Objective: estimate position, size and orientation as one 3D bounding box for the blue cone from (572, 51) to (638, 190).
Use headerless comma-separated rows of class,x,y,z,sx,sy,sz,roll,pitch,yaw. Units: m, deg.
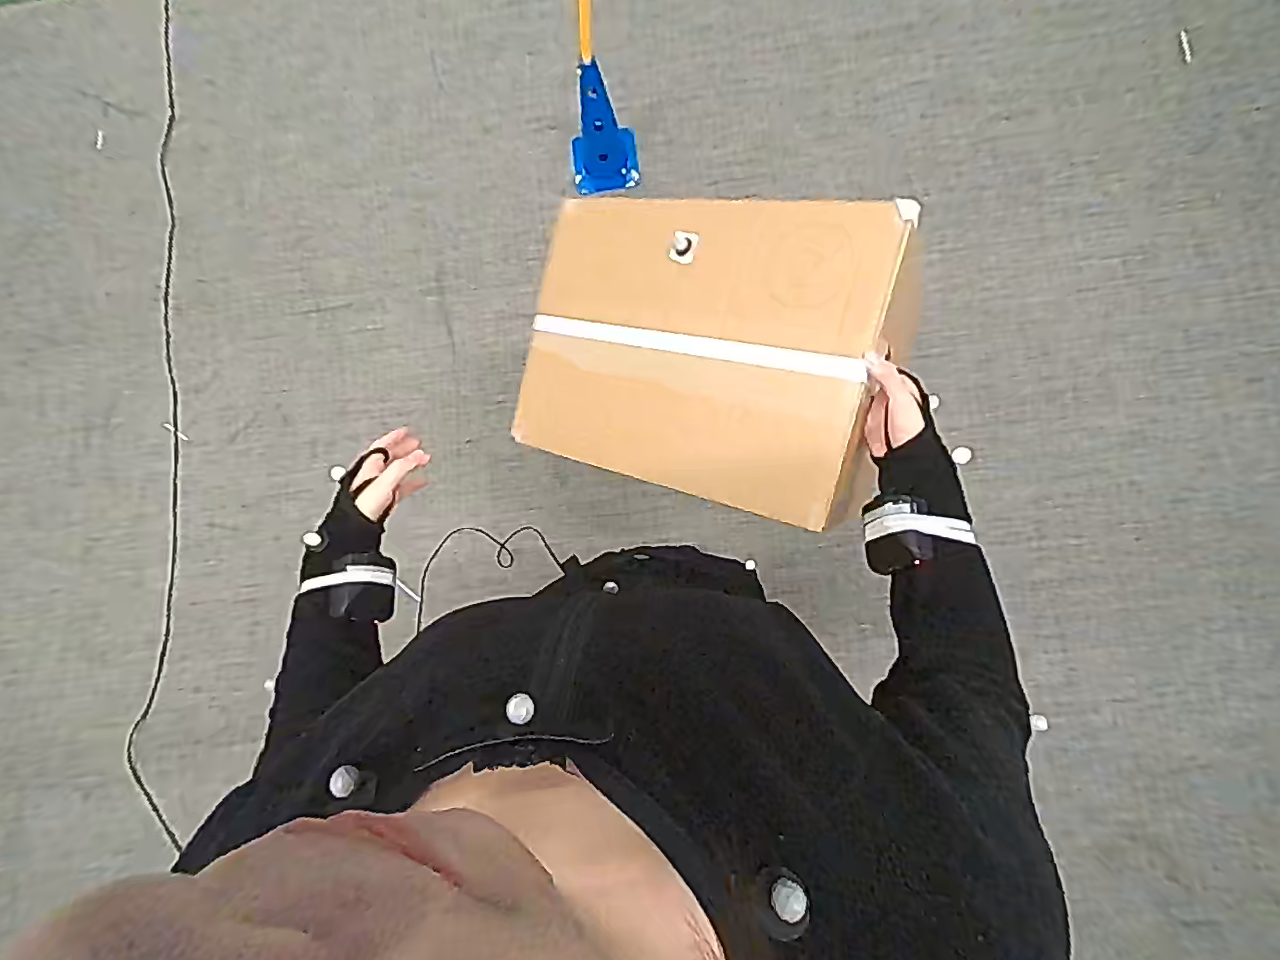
blue cone,-0.116,-1.012,1.497,0.193,0.380,0.192,-9,82,1
